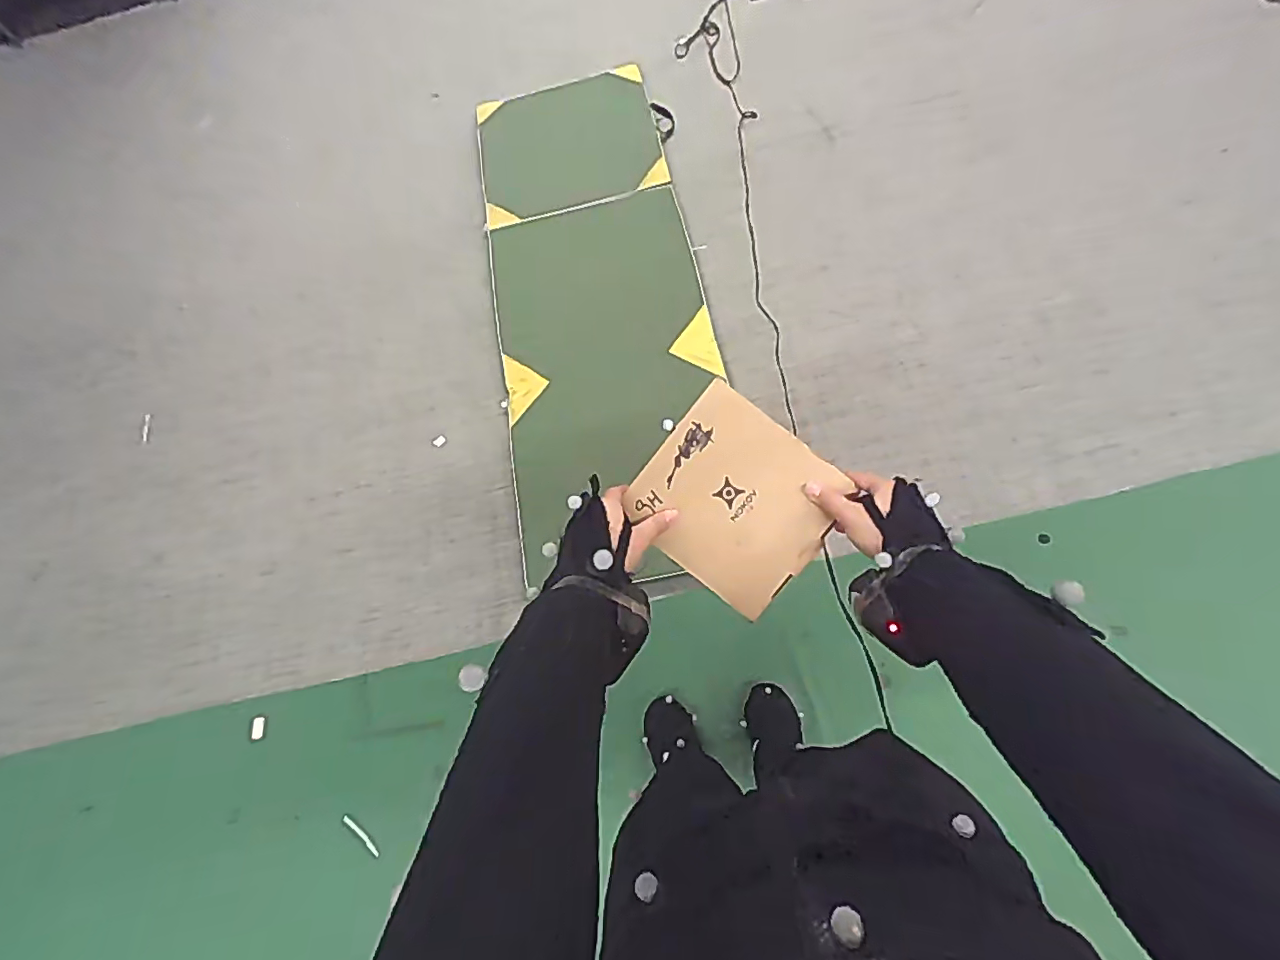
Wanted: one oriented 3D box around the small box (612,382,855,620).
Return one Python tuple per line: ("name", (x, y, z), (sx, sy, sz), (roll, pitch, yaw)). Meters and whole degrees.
("small box", (0.093, 0.019, 0.596), (0.179, 0.176, 0.168), (39, 92, 3))
